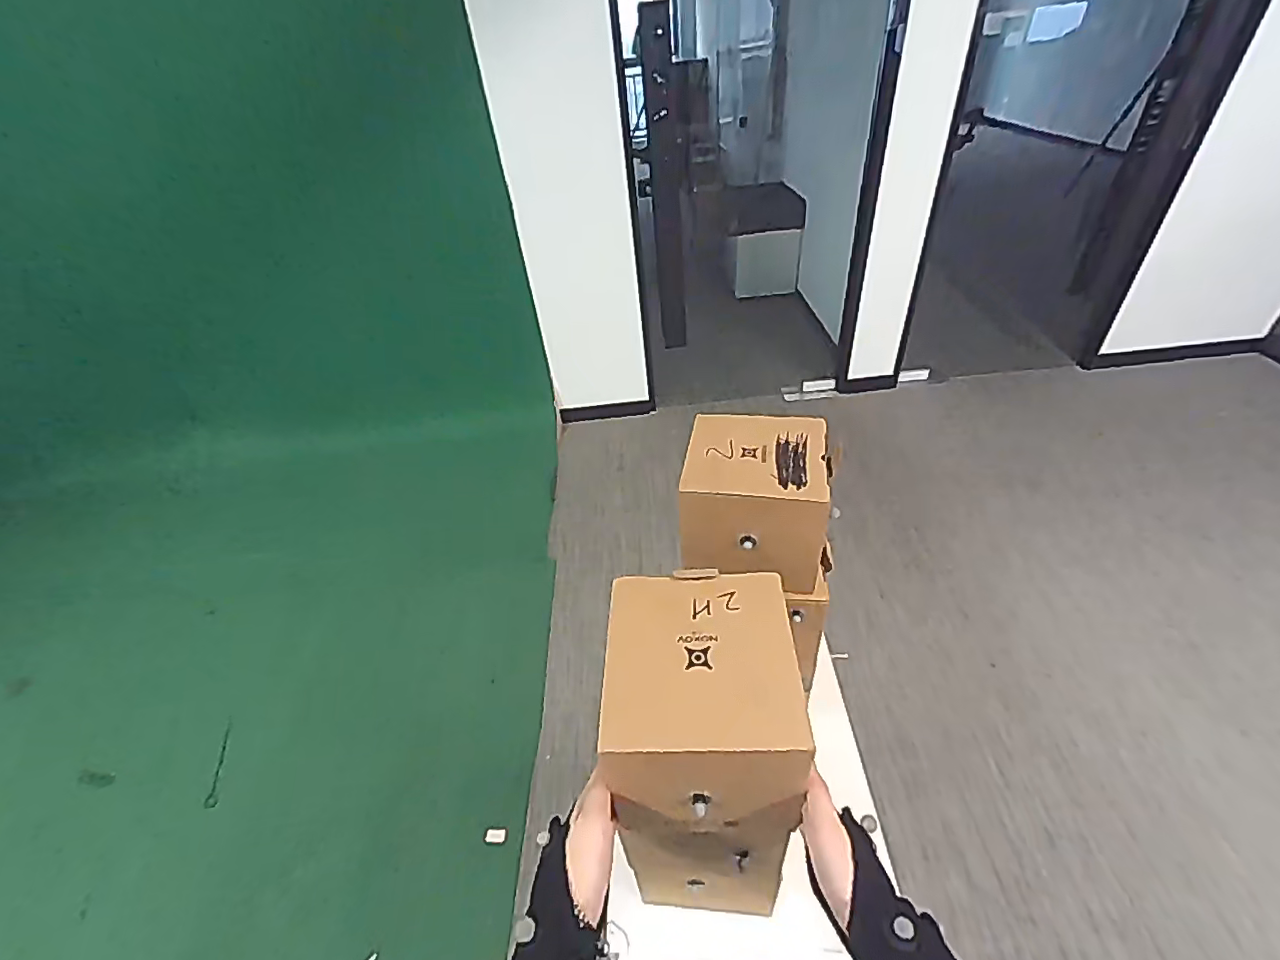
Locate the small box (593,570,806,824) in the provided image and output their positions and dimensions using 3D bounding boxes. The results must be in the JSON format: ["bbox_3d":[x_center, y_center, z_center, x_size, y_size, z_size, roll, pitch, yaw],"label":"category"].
[{"bbox_3d":[0.056,0.209,0.523,0.168,0.176,0.179,-2,39,5],"label":"small box"}]

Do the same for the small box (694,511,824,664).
[{"bbox_3d":[0.174,0.165,0.828,0.179,0.176,0.168,1,41,8],"label":"small box"}]

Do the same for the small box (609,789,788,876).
[{"bbox_3d":[0.071,0.339,0.634,0.179,0.176,0.168,-1,39,8],"label":"small box"}]

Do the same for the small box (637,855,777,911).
[{"bbox_3d":[0.088,0.462,0.740,0.179,0.176,0.168,1,40,8],"label":"small box"}]
